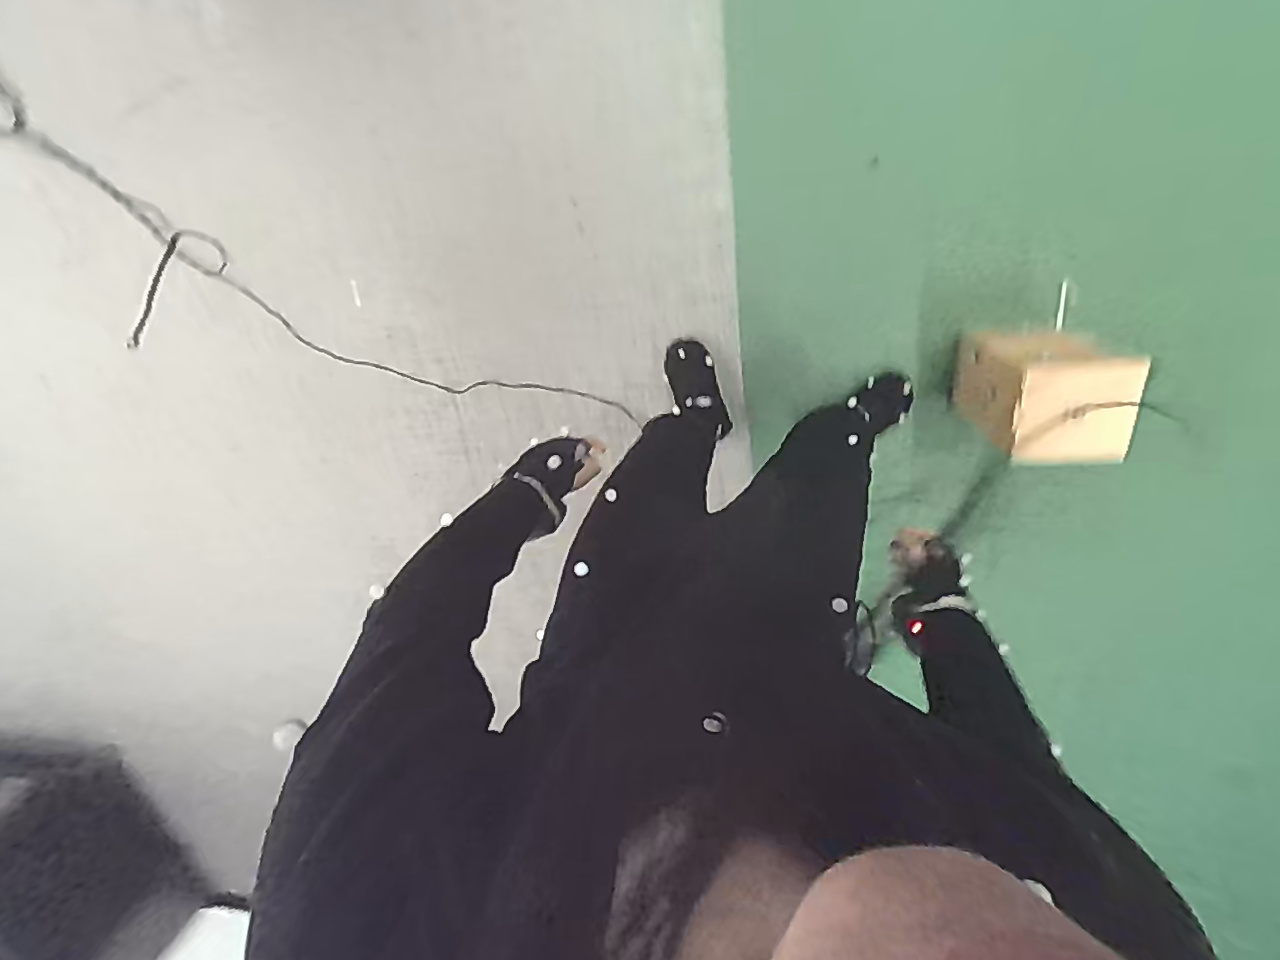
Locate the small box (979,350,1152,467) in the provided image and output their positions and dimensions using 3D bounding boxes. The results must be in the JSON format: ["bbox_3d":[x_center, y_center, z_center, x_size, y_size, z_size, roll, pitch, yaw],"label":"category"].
[{"bbox_3d":[0.741,-0.132,0.966,0.179,0.176,0.168,-1,114,13],"label":"small box"}]
